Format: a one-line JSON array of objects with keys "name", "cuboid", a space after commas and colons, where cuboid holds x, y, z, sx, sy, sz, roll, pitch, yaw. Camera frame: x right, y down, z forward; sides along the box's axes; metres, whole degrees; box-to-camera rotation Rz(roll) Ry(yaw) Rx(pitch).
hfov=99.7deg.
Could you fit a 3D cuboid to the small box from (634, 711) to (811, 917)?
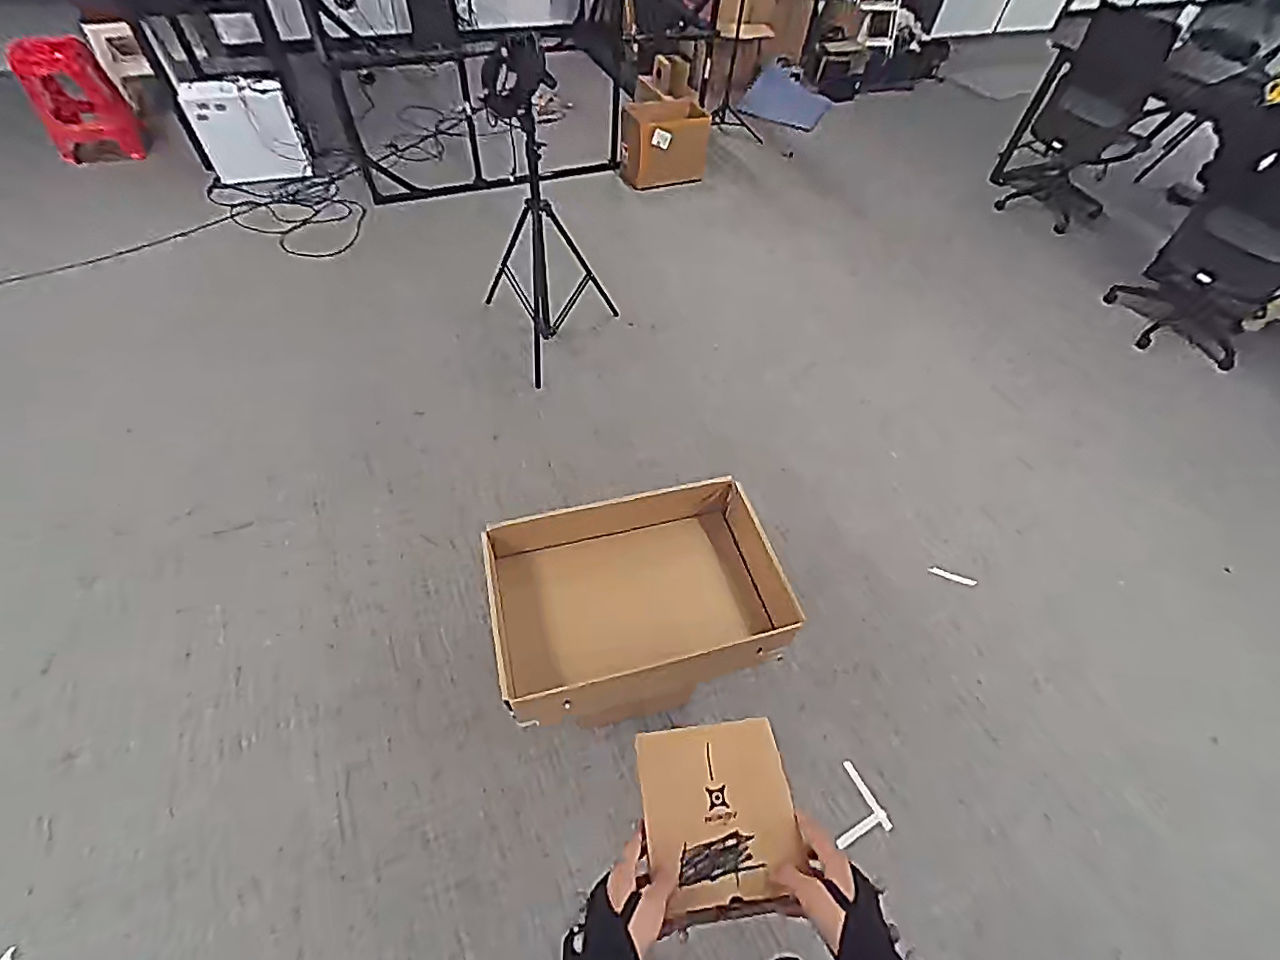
[{"name": "small box", "cuboid": [0.085, 0.404, 0.649, 0.168, 0.176, 0.179, -5, 47, -5]}]
